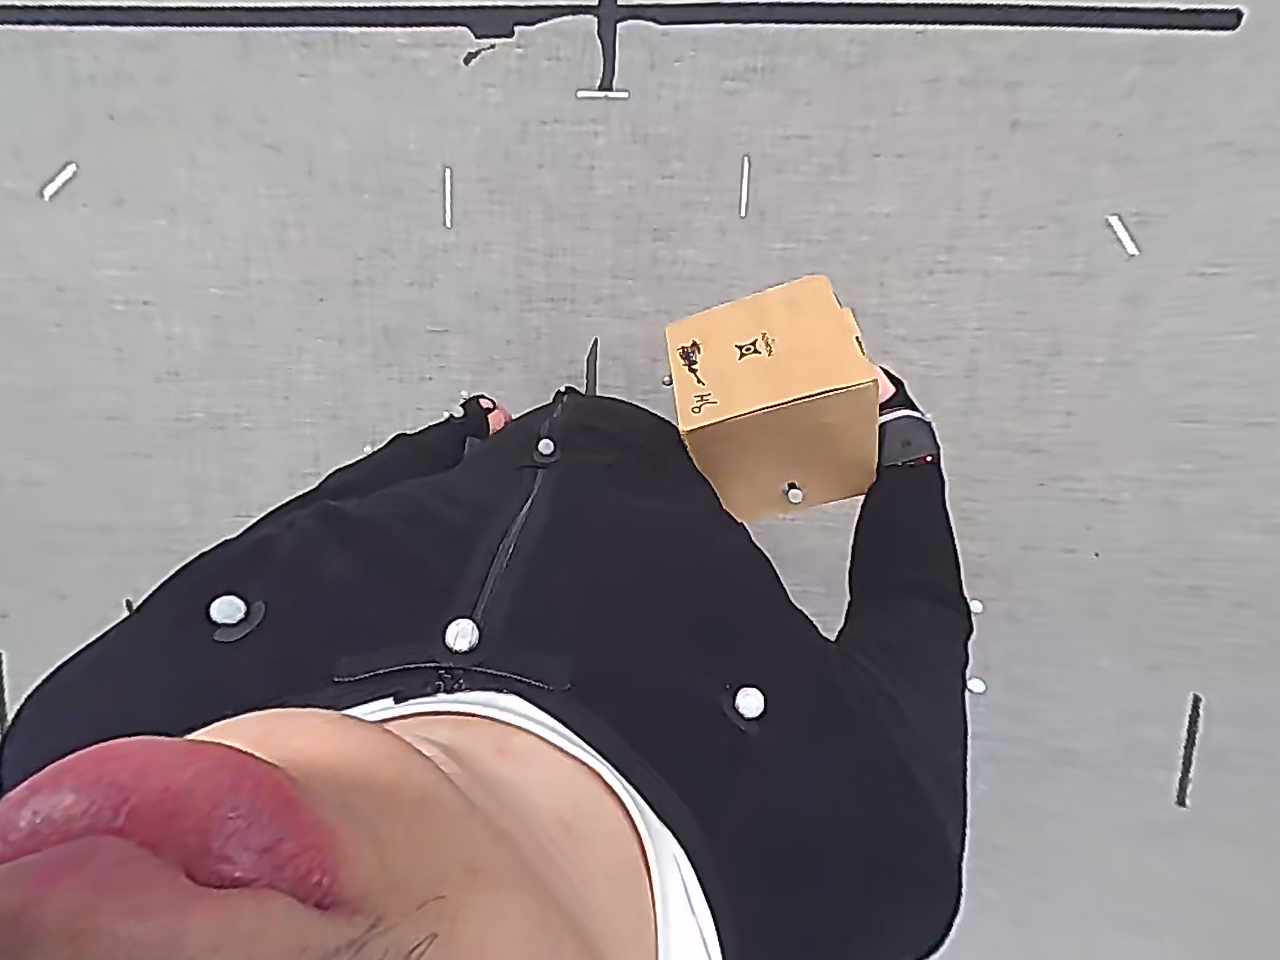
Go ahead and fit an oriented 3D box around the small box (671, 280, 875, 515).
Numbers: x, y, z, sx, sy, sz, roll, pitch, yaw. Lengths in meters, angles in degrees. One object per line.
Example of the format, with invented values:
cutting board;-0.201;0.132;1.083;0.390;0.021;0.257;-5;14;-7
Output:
small box;0.144;-0.083;0.600;0.179;0.168;0.176;-14;139;12
